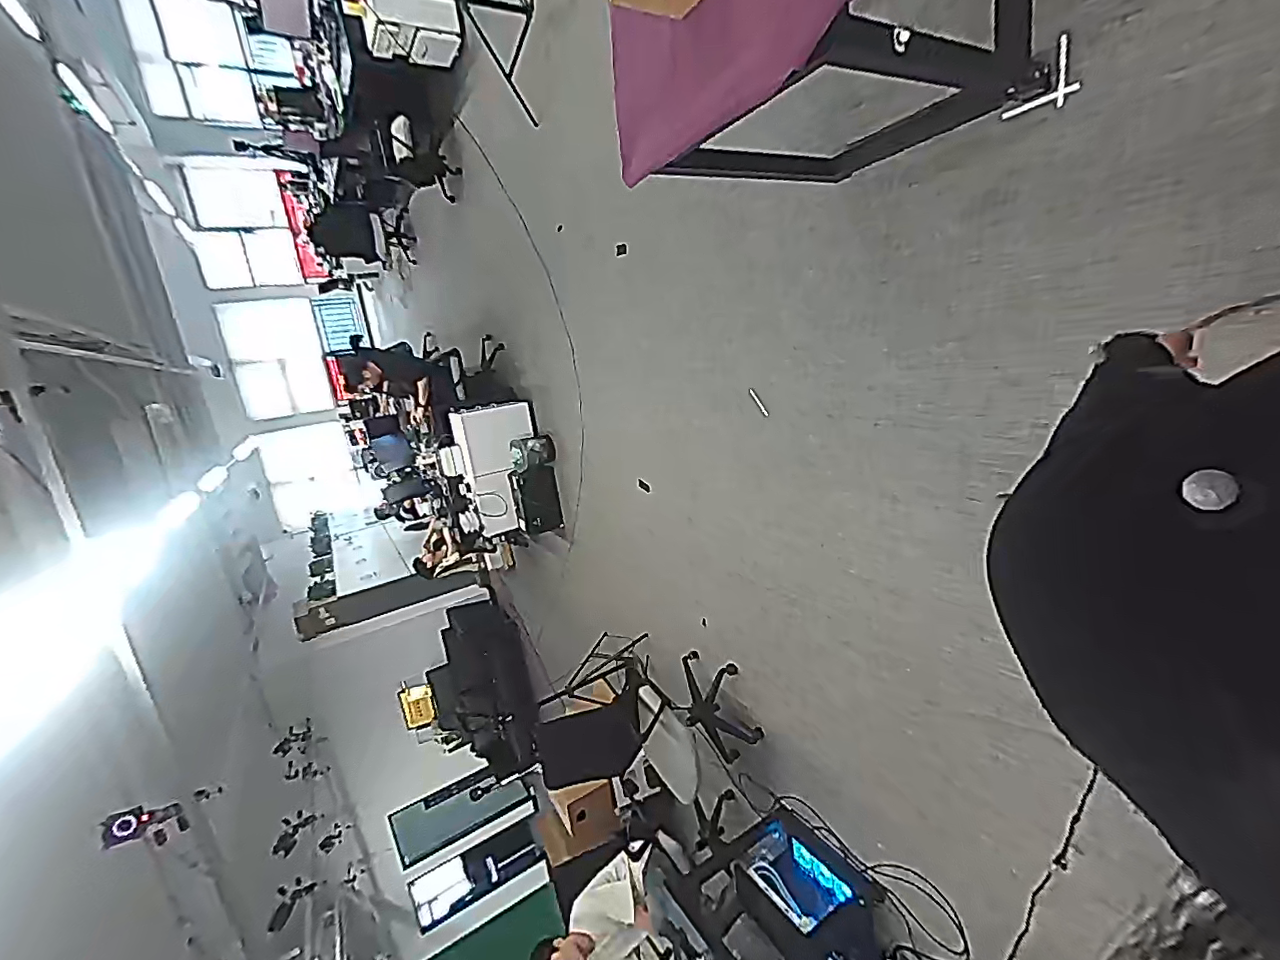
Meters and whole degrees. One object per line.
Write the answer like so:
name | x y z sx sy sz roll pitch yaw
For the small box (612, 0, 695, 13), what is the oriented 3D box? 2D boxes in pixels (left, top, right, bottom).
small box | 0.048 -0.971 0.947 0.179 0.176 0.168 15 116 58
